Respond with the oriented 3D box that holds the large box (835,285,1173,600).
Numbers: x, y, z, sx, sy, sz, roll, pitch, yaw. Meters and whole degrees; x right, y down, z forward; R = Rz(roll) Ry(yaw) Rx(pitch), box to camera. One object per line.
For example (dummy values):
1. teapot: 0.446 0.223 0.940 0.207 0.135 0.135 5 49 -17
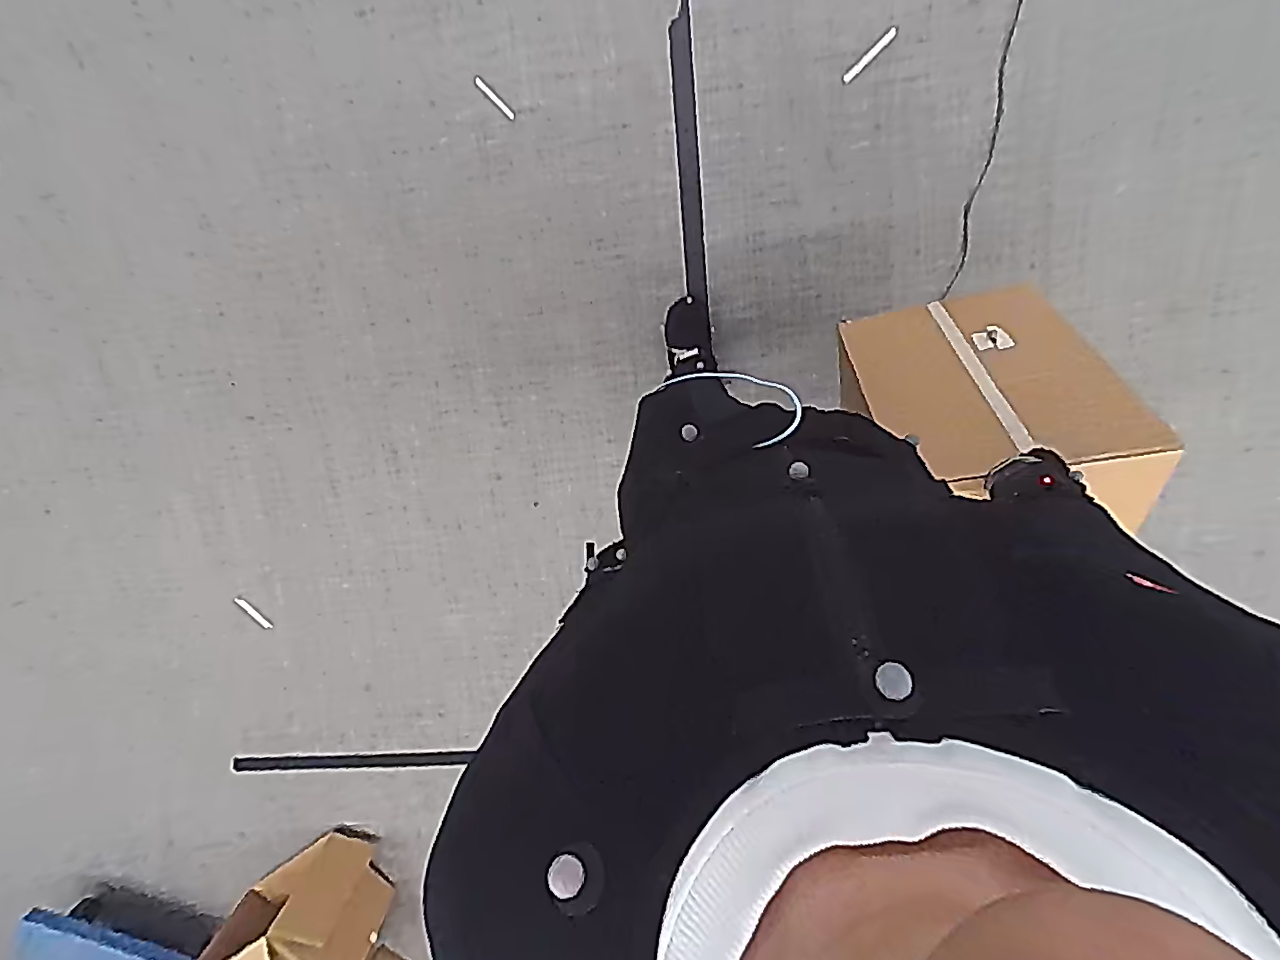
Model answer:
1. large box: 0.535 -0.063 0.911 0.320 0.408 0.320 -9 135 12
